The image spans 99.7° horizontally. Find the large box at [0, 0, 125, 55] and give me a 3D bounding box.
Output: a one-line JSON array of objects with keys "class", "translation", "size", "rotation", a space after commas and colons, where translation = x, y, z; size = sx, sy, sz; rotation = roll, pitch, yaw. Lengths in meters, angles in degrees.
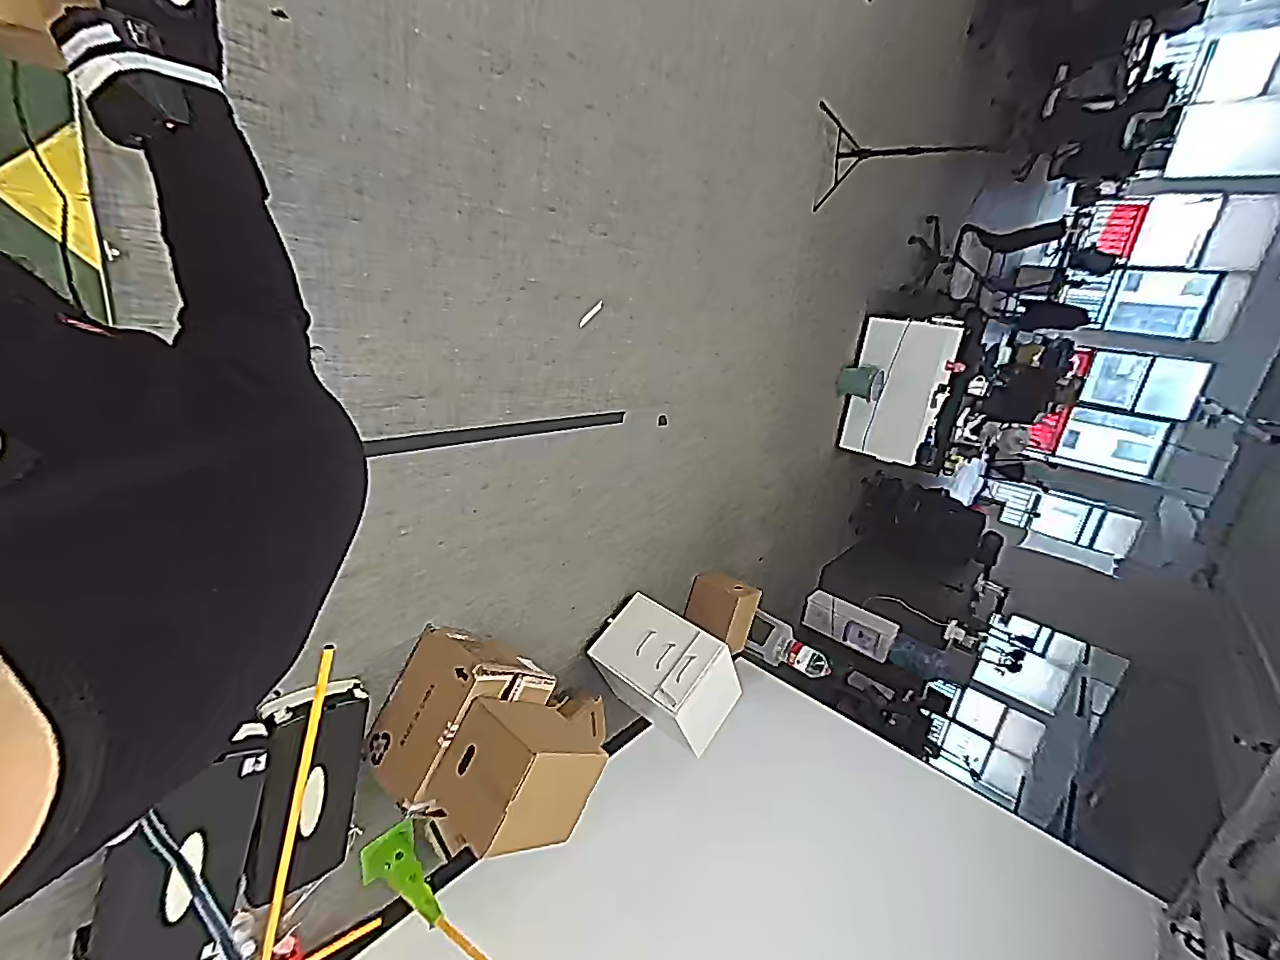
[{"class": "large box", "translation": [-0.598, -0.468, 0.271], "size": [0.408, 0.320, 0.320], "rotation": [-21, 129, -47]}]
